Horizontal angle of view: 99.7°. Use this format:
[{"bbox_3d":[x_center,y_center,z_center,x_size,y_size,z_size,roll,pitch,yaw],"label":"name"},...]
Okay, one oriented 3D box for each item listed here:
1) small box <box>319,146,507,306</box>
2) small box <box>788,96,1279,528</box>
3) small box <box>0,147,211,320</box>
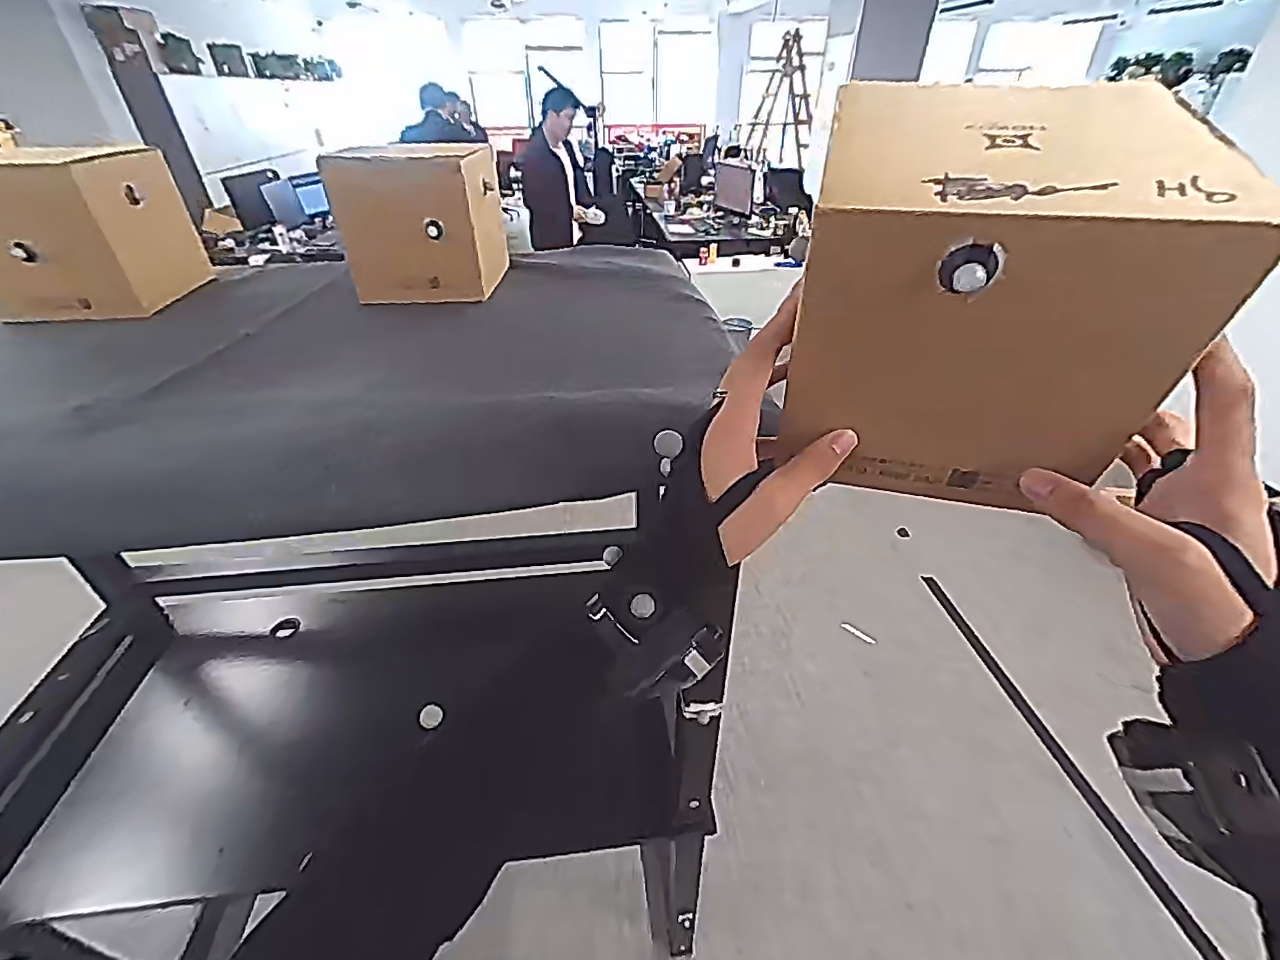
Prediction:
[{"bbox_3d":[-0.279,-0.338,0.717,0.168,0.176,0.179,0,35,-1],"label":"small box"},{"bbox_3d":[0.186,-0.101,0.314,0.168,0.176,0.179,10,50,14],"label":"small box"},{"bbox_3d":[-0.689,-0.305,0.671,0.168,0.176,0.179,-4,36,-6],"label":"small box"}]
